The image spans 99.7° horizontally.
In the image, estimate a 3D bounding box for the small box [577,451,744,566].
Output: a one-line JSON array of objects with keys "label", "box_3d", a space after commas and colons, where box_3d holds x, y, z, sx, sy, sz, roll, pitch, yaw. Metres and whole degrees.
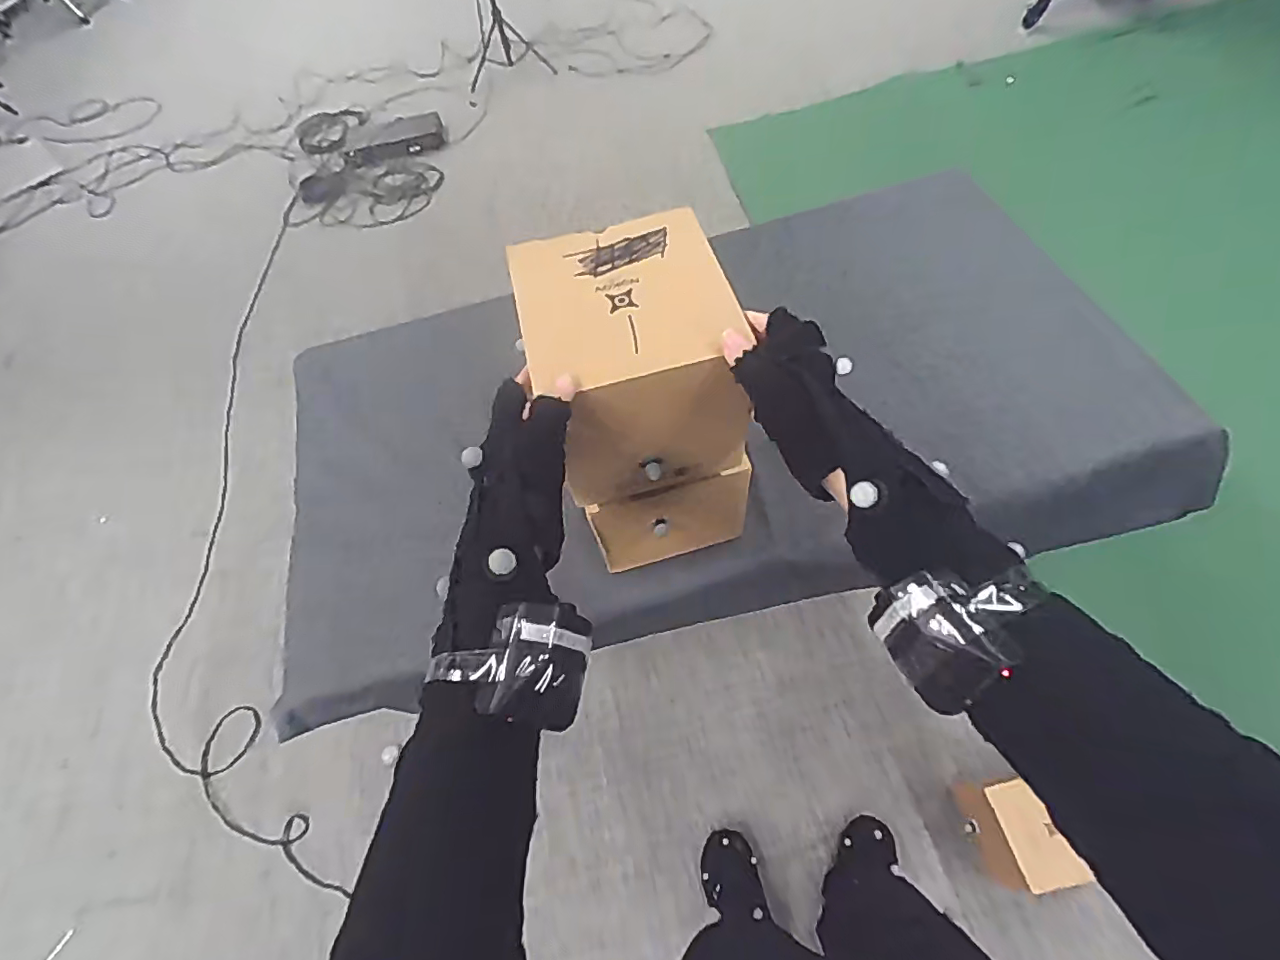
[{"label": "small box", "box_3d": [0.017, -0.013, 0.658, 0.179, 0.176, 0.168, -15, 59, -2]}]

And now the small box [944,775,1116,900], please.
[{"label": "small box", "box_3d": [0.726, 0.671, 1.033, 0.179, 0.176, 0.168, -13, 59, 1]}]

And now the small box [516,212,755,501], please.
[{"label": "small box", "box_3d": [-0.006, -0.106, 0.497, 0.168, 0.176, 0.179, -13, 60, -2]}]
